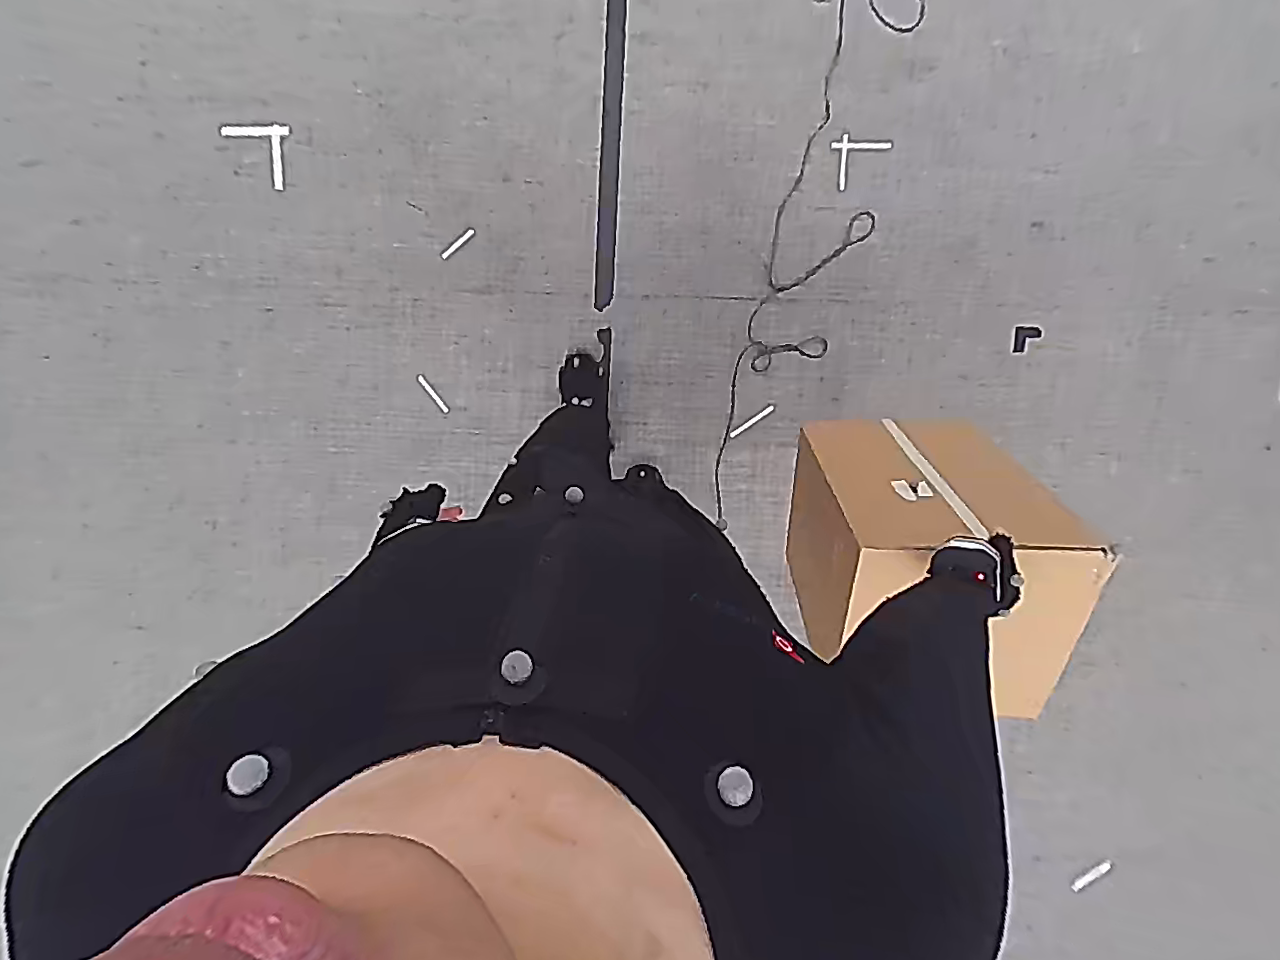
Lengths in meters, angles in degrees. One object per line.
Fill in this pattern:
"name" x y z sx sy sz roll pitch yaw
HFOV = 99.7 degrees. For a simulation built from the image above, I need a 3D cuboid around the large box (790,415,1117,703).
"large box" 0.463 0.112 0.932 0.320 0.408 0.320 0 121 5
